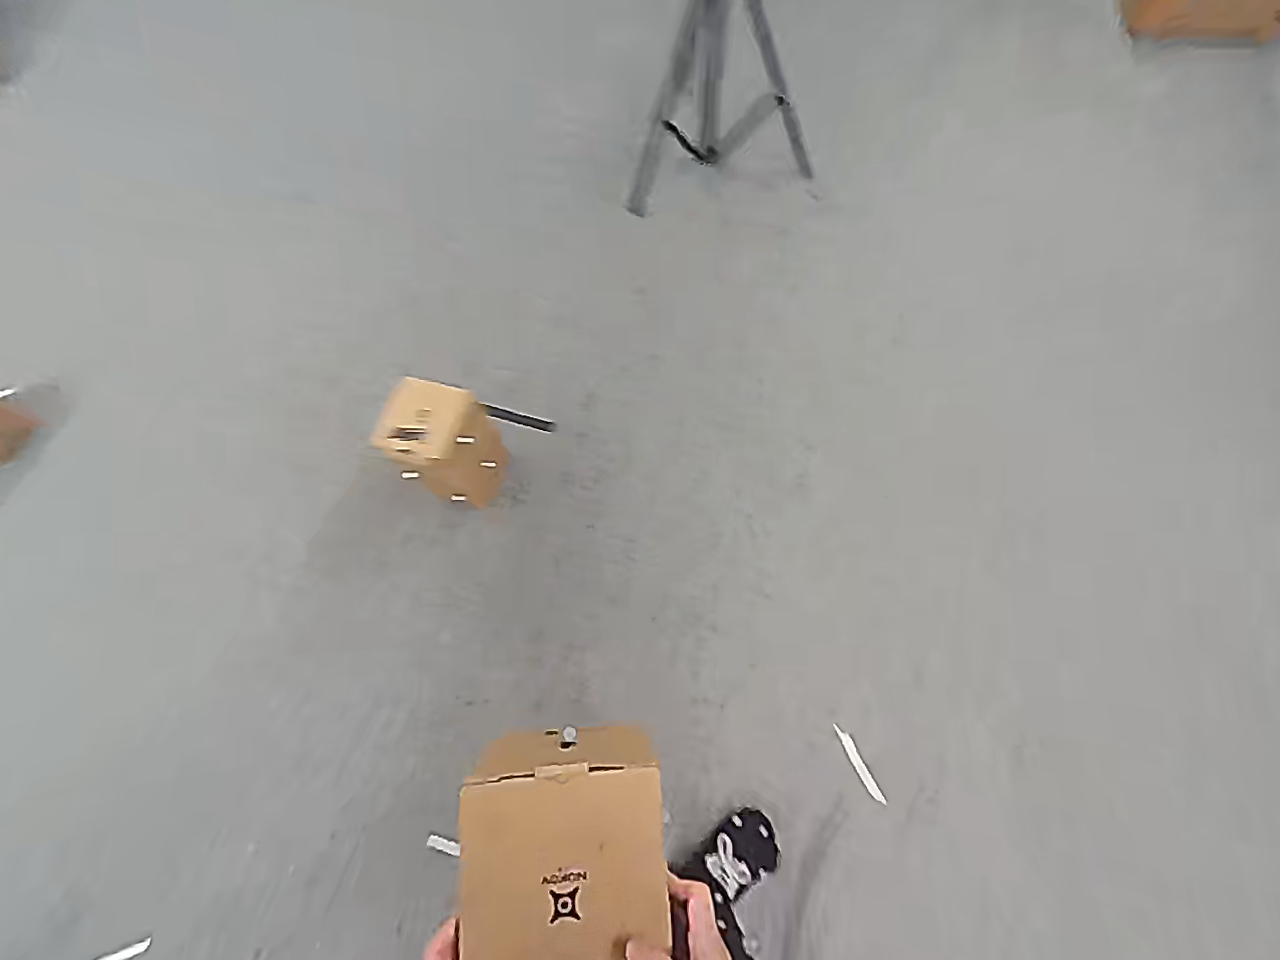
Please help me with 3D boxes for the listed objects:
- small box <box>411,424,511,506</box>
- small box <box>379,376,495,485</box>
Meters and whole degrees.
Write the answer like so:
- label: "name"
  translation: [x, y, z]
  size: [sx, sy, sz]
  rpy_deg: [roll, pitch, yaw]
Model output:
- label: "small box"
  translation: [-0.450, -0.049, 1.393]
  size: [0.168, 0.176, 0.179]
  rpy_deg: [14, 69, 7]
- label: "small box"
  translation: [-0.452, -0.107, 1.238]
  size: [0.168, 0.176, 0.179]
  rpy_deg: [14, 70, 8]
